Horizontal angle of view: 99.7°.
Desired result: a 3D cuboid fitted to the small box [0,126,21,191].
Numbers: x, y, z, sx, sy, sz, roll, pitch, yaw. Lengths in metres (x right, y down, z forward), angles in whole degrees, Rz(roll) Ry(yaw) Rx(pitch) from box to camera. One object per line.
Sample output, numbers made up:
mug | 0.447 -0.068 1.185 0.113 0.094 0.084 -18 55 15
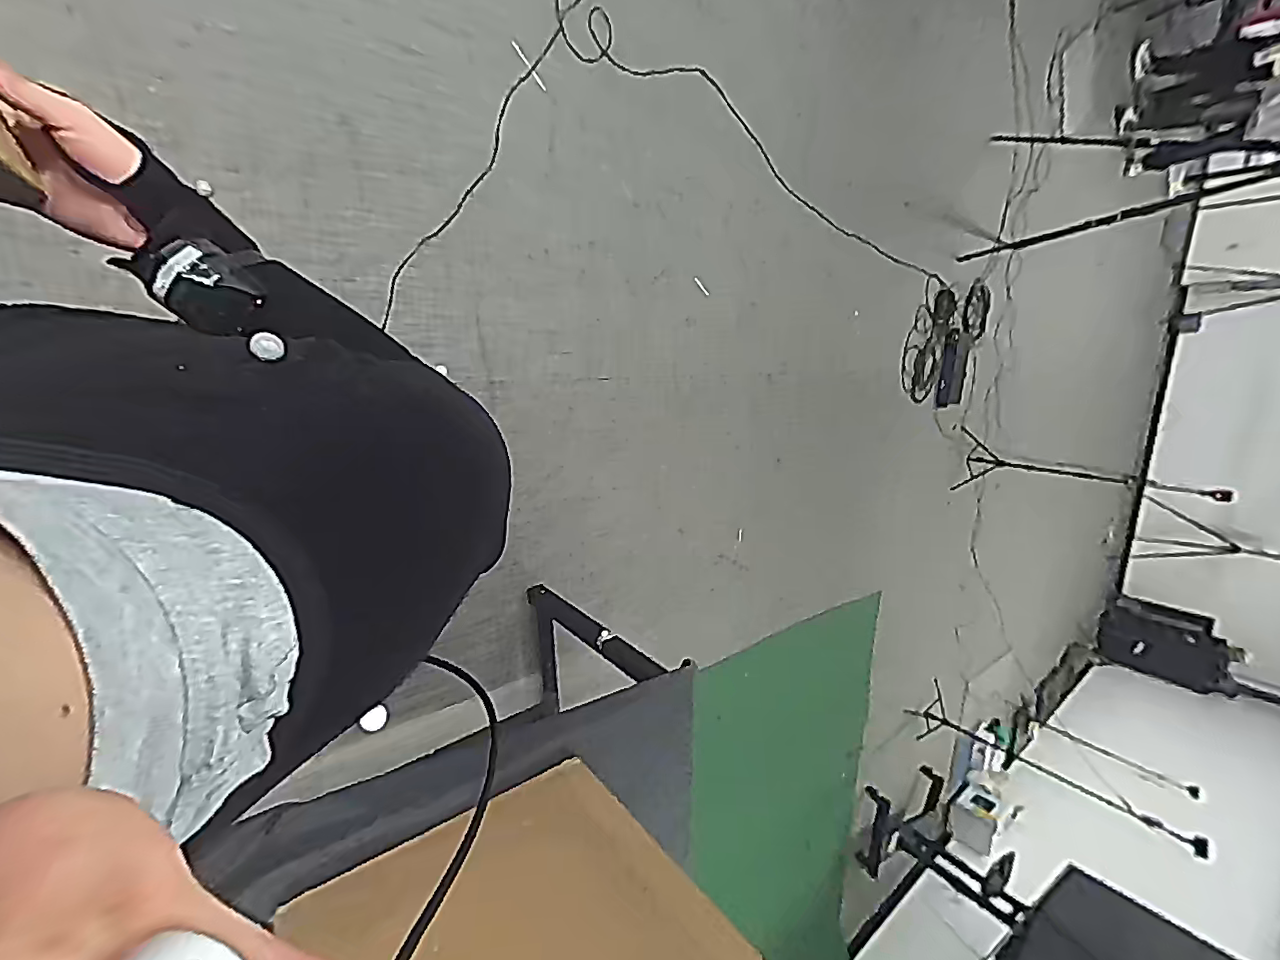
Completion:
small box | -0.452 -0.236 0.243 0.168 0.176 0.179 -26 119 -32
